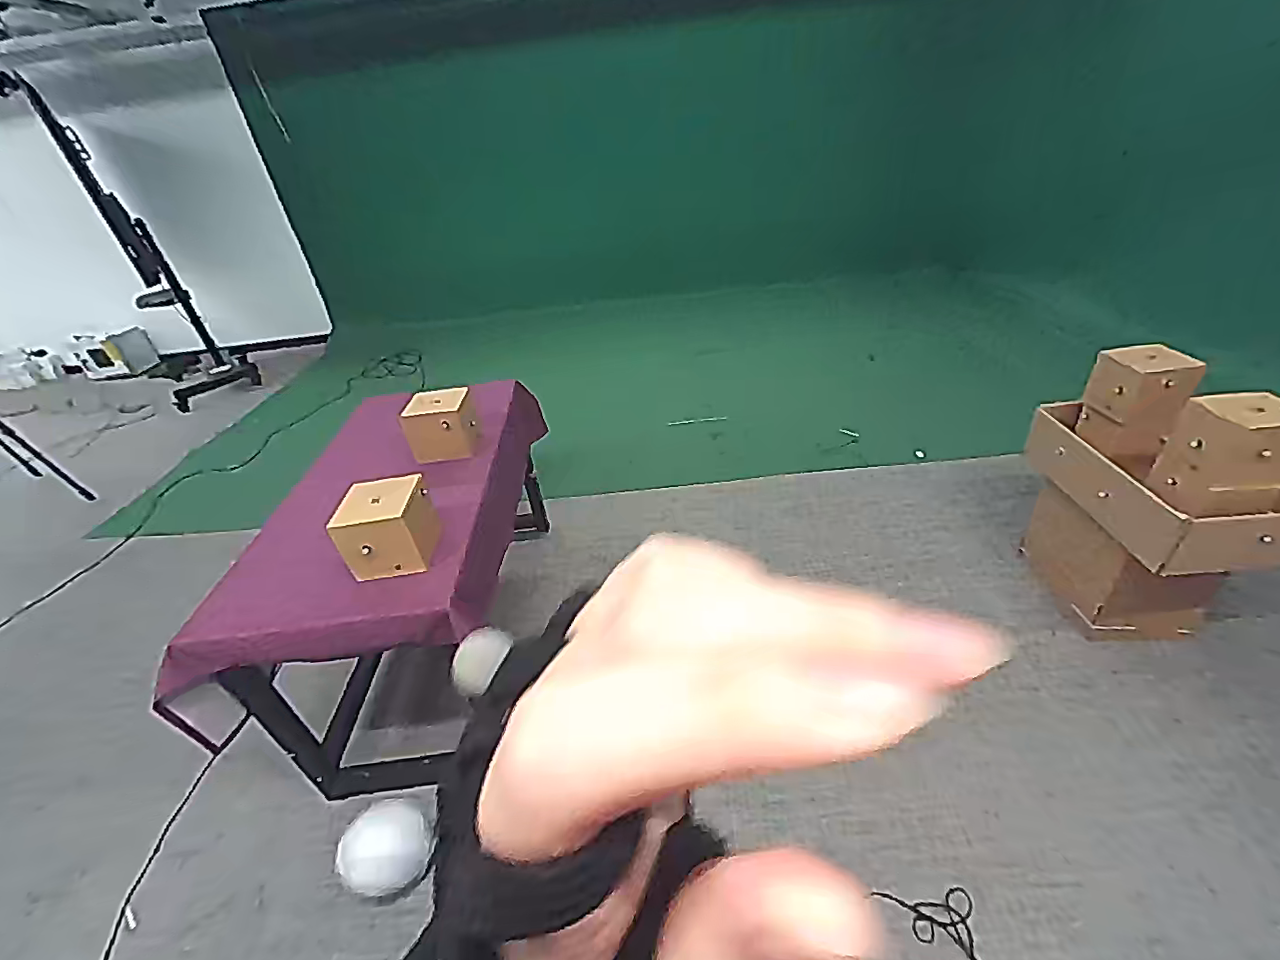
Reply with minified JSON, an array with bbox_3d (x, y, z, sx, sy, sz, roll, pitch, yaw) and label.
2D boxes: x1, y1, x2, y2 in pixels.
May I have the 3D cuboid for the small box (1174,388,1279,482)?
[{"bbox_3d":[1.468,-0.107,1.318,0.179,0.176,0.168,-5,34,7],"label":"small box"}]

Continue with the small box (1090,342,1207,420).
[{"bbox_3d":[1.475,-0.289,1.588,0.179,0.176,0.168,-7,34,1],"label":"small box"}]

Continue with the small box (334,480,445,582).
[{"bbox_3d":[-0.581,0.126,1.282,0.168,0.176,0.179,-9,32,0],"label":"small box"}]

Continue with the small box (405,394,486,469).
[{"bbox_3d":[-0.603,-0.152,1.701,0.179,0.176,0.168,-7,33,2],"label":"small box"}]
